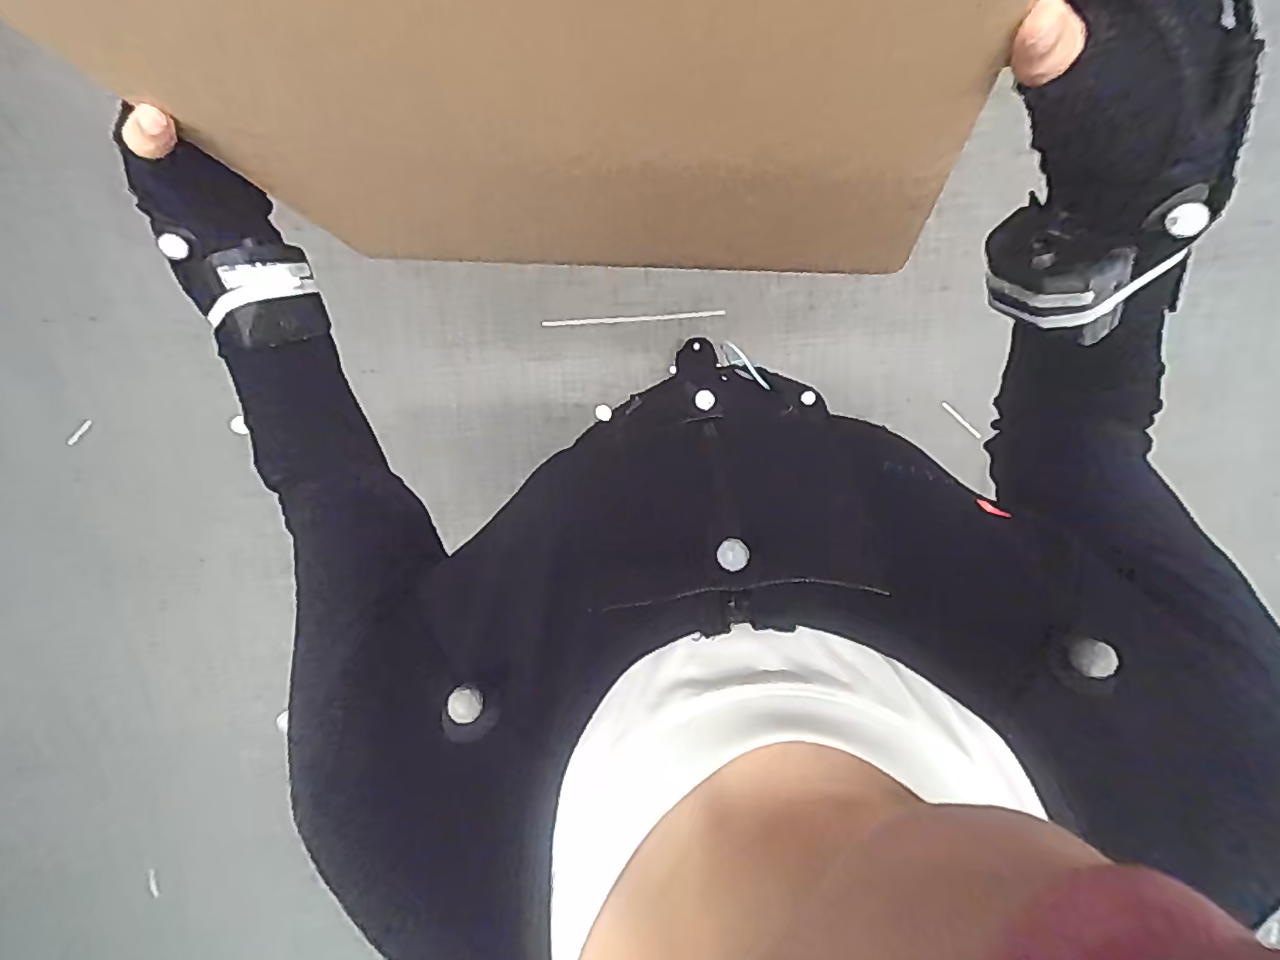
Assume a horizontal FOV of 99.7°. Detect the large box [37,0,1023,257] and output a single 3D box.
[{"bbox_3d":[-0.039,-0.325,0.255,0.408,0.320,0.320,8,87,14],"label":"large box"}]
